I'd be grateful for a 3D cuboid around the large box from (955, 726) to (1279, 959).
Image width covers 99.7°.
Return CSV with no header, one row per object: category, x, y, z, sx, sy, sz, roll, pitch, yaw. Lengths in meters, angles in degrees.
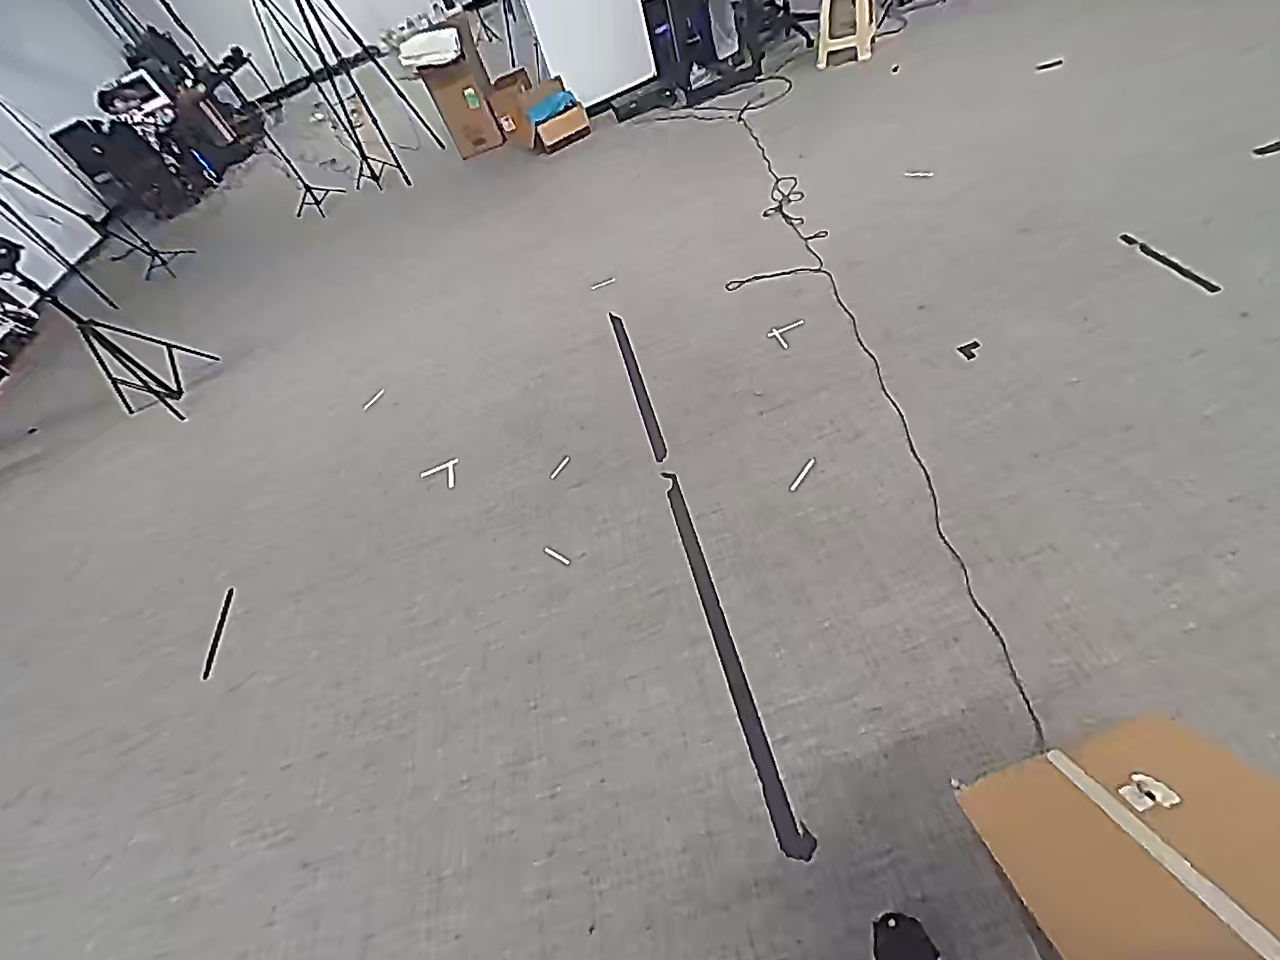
large box,0.661,0.564,0.613,0.320,0.408,0.320,-27,86,8
